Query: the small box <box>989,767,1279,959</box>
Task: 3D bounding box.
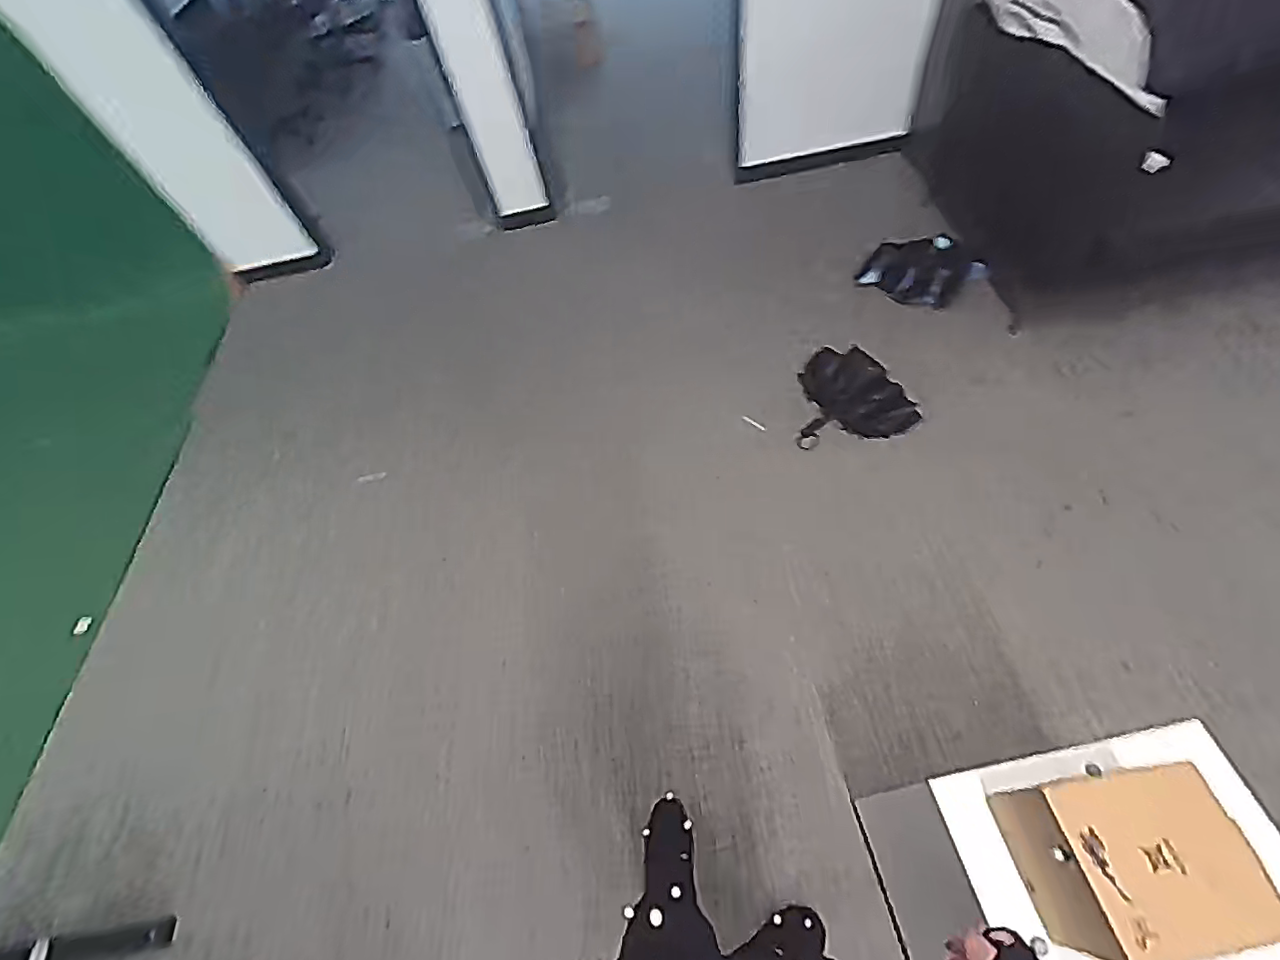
[{"bbox_3d":[0.567,0.449,0.642,0.179,0.176,0.168,-11,57,1],"label":"small box"}]
